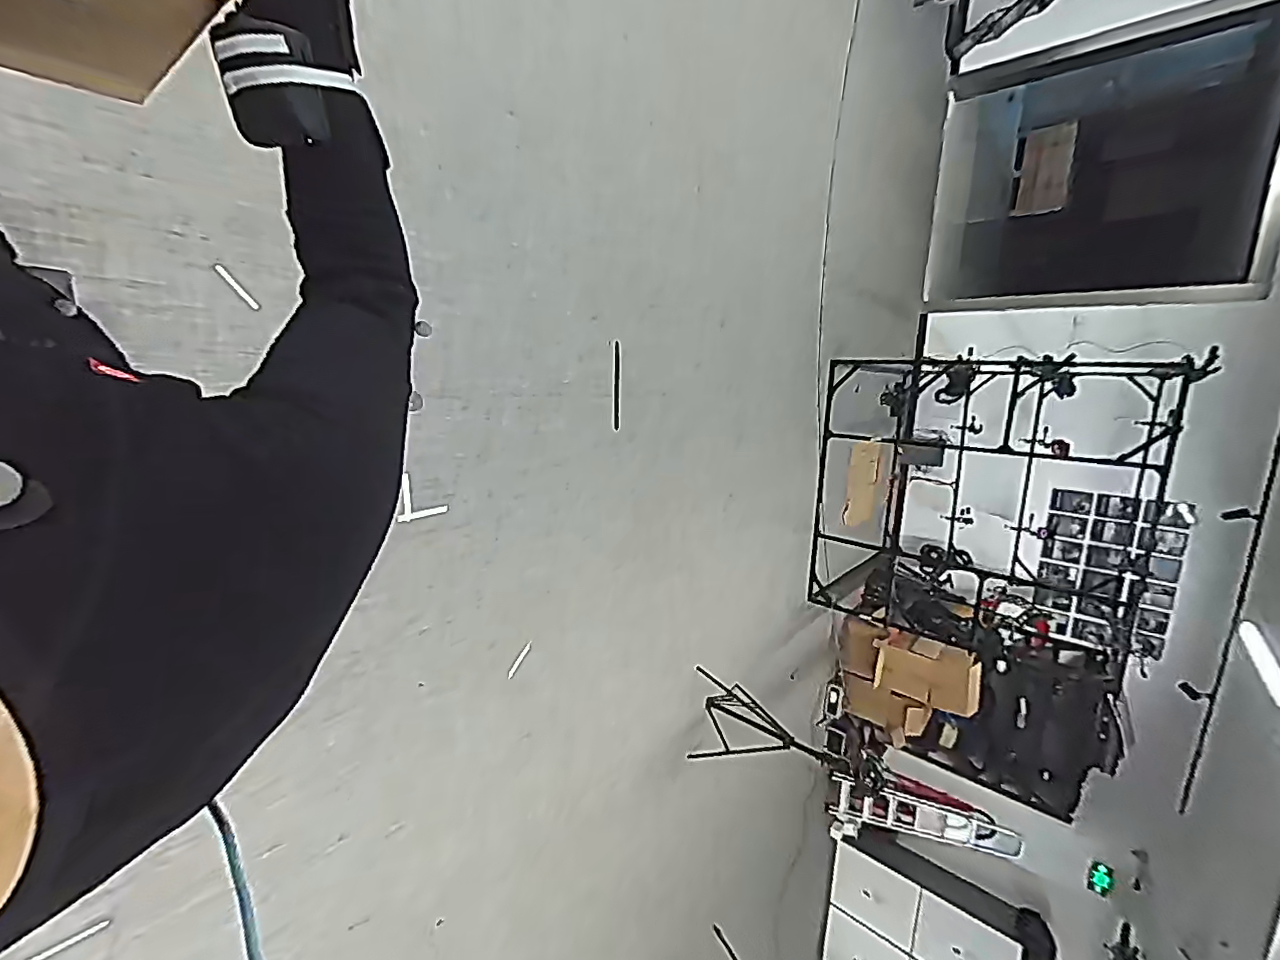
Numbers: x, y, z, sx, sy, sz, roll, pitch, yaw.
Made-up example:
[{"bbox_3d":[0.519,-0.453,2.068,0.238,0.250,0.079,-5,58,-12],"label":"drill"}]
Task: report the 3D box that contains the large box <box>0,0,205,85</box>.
[{"bbox_3d":[-0.486,-0.451,0.239,0.408,0.320,0.320,-14,114,-48],"label":"large box"}]
